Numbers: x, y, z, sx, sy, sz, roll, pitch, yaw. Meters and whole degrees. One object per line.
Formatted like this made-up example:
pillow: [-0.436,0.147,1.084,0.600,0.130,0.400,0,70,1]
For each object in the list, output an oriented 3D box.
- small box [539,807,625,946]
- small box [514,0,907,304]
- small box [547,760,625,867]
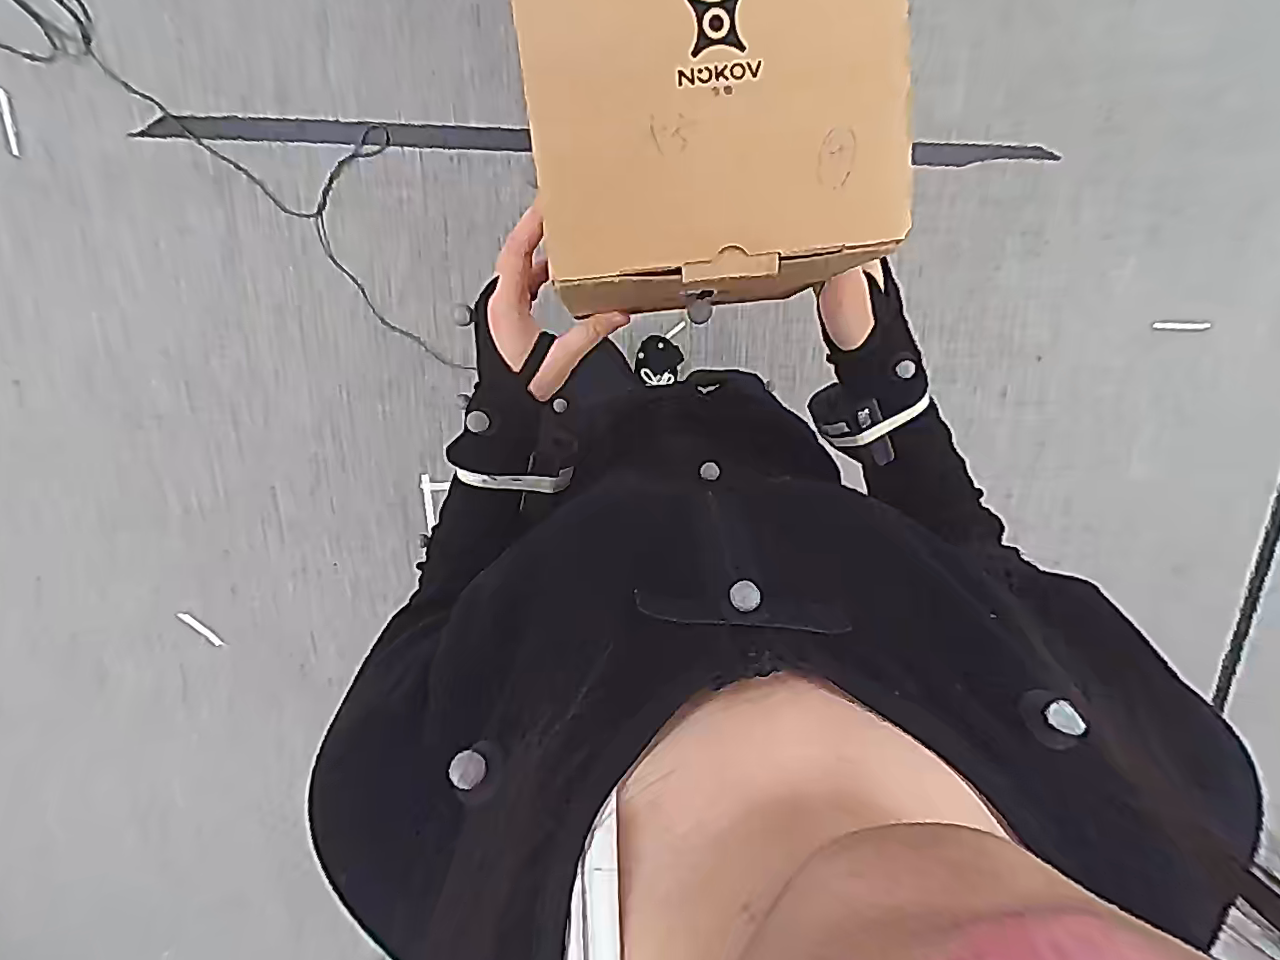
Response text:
small box: [-0.116,0.833,1.144,0.168,0.176,0.179,0,102,-1]
small box: [0.028,-0.200,0.306,0.168,0.176,0.179,-7,102,-2]
small box: [-0.124,0.802,1.303,0.179,0.176,0.168,-1,103,0]
